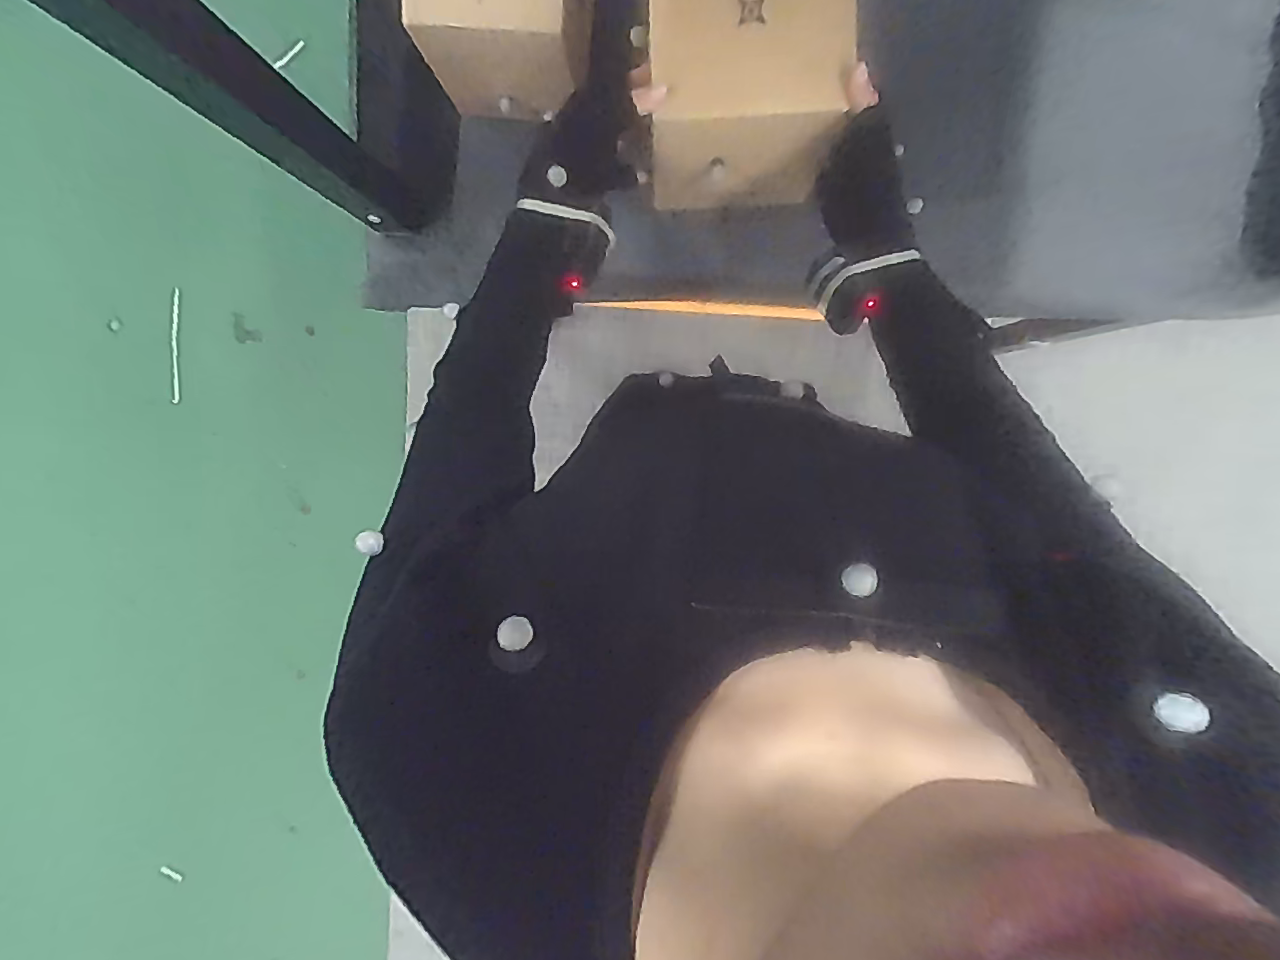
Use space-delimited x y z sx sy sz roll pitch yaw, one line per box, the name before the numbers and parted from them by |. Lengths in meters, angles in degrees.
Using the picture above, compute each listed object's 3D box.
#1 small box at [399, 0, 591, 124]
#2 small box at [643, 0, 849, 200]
small box | -0.151 -0.547 0.613 0.168 0.176 0.179 5 97 2
small box | 0.089 -0.386 0.514 0.168 0.176 0.179 -2 92 2
